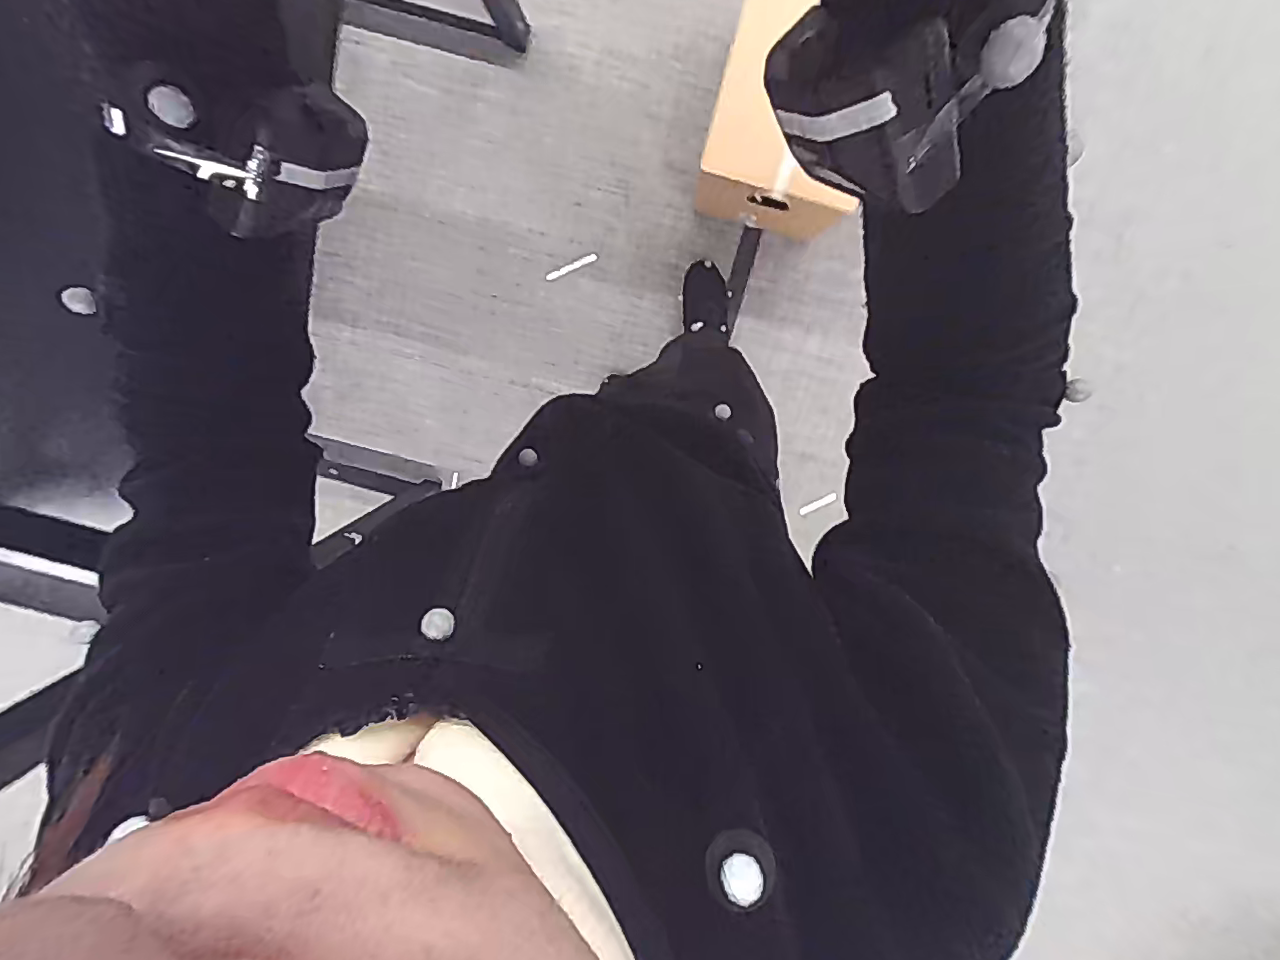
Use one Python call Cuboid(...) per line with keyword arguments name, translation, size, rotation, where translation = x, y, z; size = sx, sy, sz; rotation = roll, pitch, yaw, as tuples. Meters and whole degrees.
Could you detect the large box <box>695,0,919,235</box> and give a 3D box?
Cuboid(name="large box", translation=(0.315, -0.779, 1.123), size=(0.320, 0.320, 0.408), rotation=(15, 104, -2))
